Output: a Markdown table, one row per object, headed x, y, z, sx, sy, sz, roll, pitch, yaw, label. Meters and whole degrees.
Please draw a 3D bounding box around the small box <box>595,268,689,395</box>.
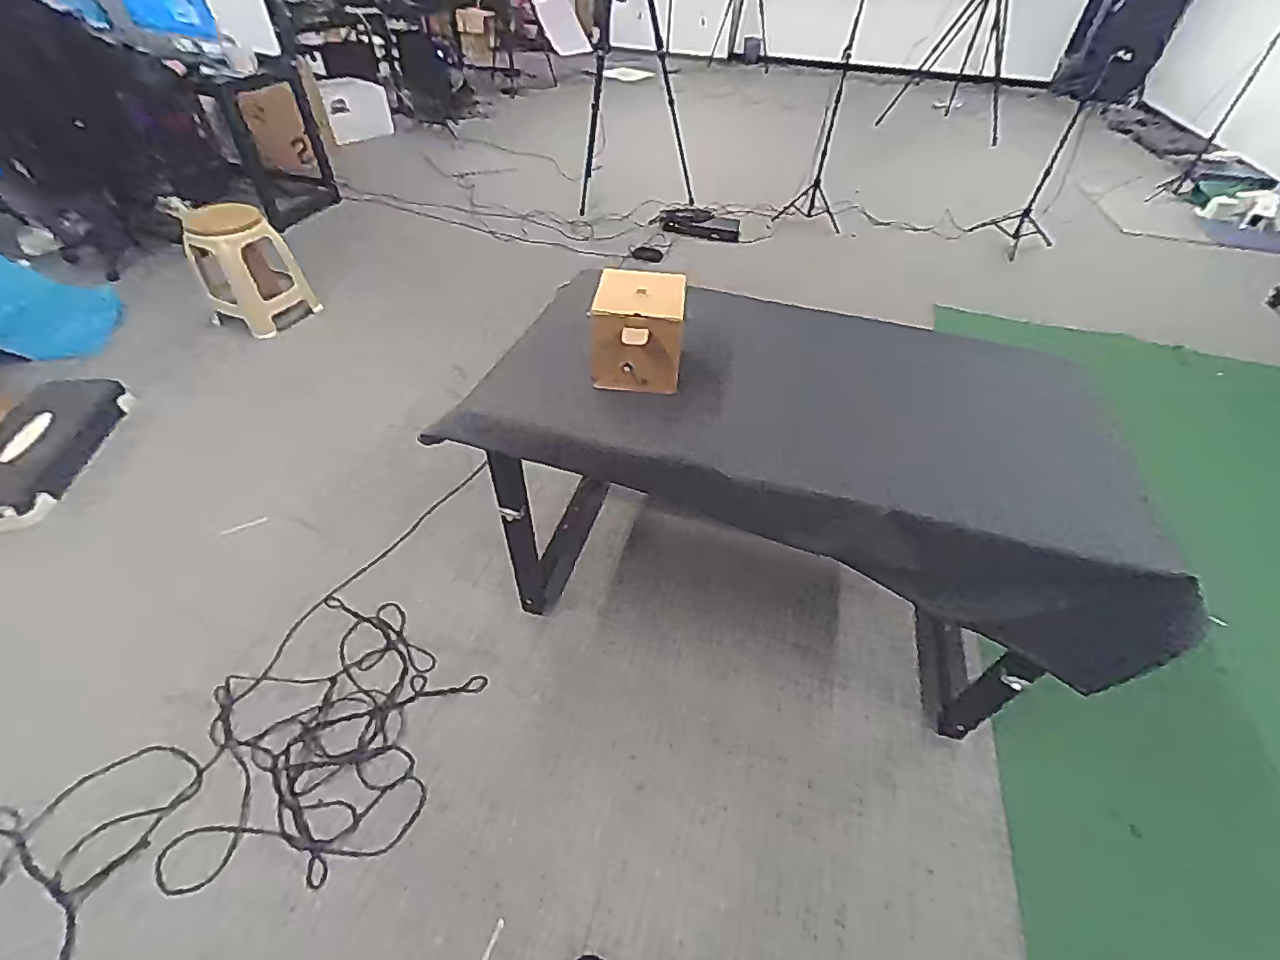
| x | y | z | sx | sy | sz | roll | pitch | yaw | label |
| --- | --- | --- | --- | --- | --- | --- | --- | --- | --- |
| 0.002 | -0.293 | 1.067 | 0.168 | 0.176 | 0.179 | 6 | 46 | 1 | small box |
